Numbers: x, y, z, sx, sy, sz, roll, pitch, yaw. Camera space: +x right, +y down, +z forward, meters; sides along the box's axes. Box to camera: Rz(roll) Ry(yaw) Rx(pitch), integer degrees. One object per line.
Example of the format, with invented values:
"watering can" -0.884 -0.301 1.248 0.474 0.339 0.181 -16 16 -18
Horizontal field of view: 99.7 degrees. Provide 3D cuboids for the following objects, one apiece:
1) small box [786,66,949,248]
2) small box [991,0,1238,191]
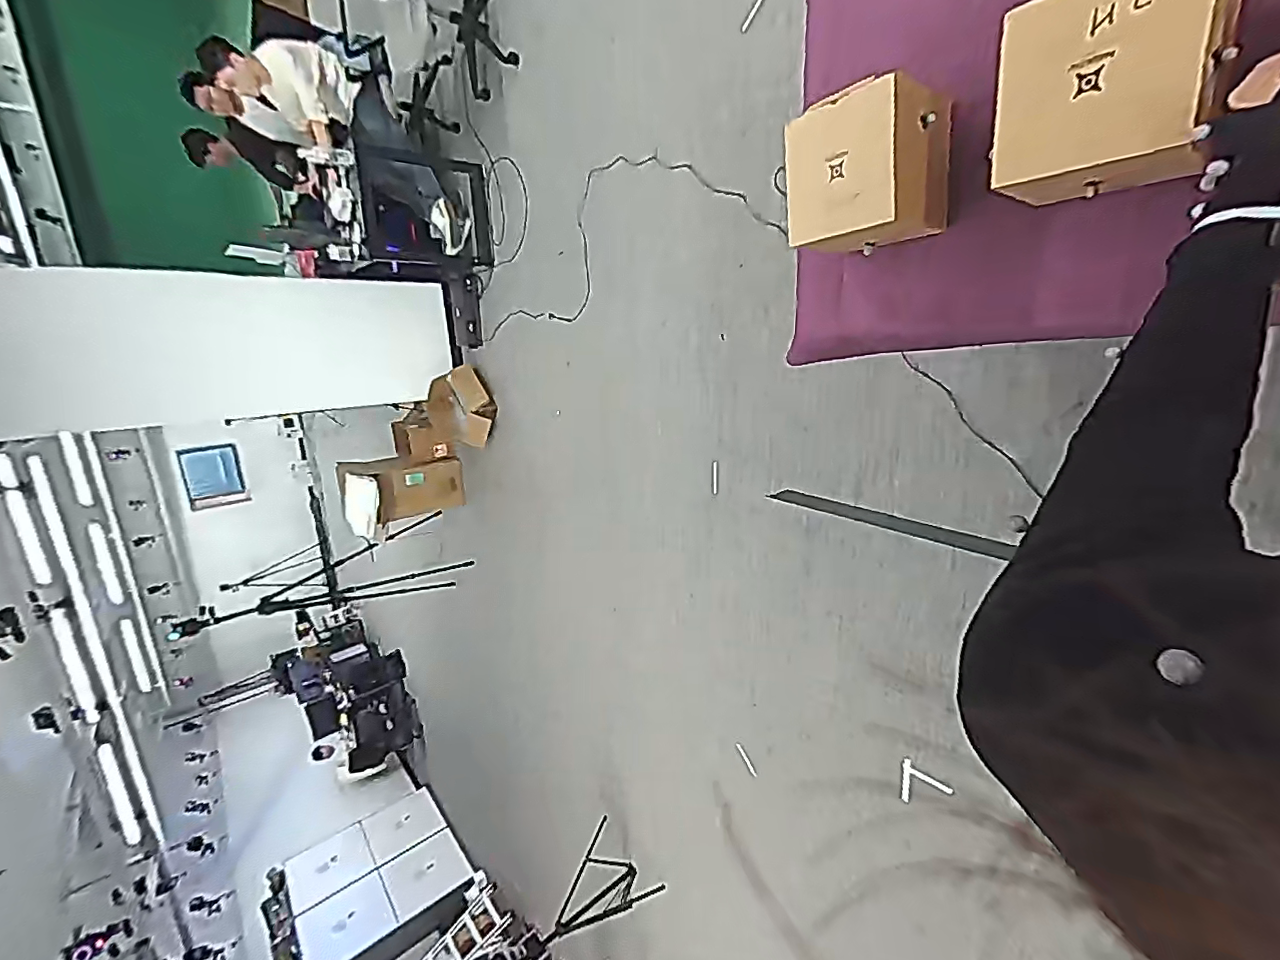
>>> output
"small box" 0.334 -0.454 0.795 0.168 0.176 0.179 11 109 50
"small box" 0.509 -0.427 0.585 0.168 0.176 0.179 13 111 48
